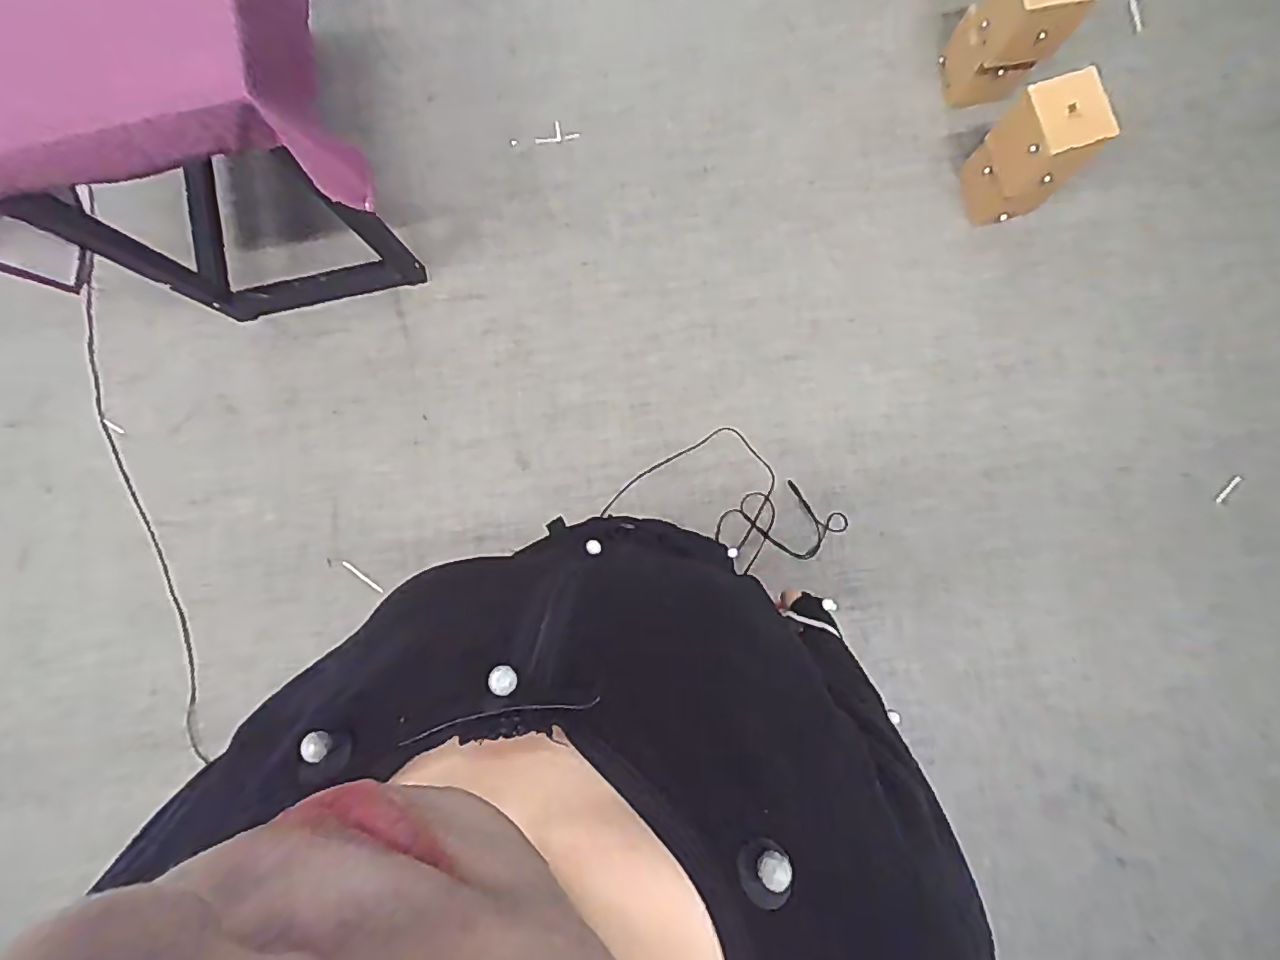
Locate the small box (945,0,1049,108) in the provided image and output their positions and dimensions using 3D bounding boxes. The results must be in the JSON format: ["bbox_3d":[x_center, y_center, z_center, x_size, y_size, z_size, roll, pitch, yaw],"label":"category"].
[{"bbox_3d":[0.981,-1.180,1.508,0.179,0.176,0.168,-8,86,1],"label":"small box"}]

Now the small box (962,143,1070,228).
[{"bbox_3d":[1.019,-0.829,1.483,0.168,0.176,0.179,-11,86,2],"label":"small box"}]

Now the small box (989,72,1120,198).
[{"bbox_3d":[0.999,-0.835,1.321,0.168,0.176,0.179,-16,86,1],"label":"small box"}]
